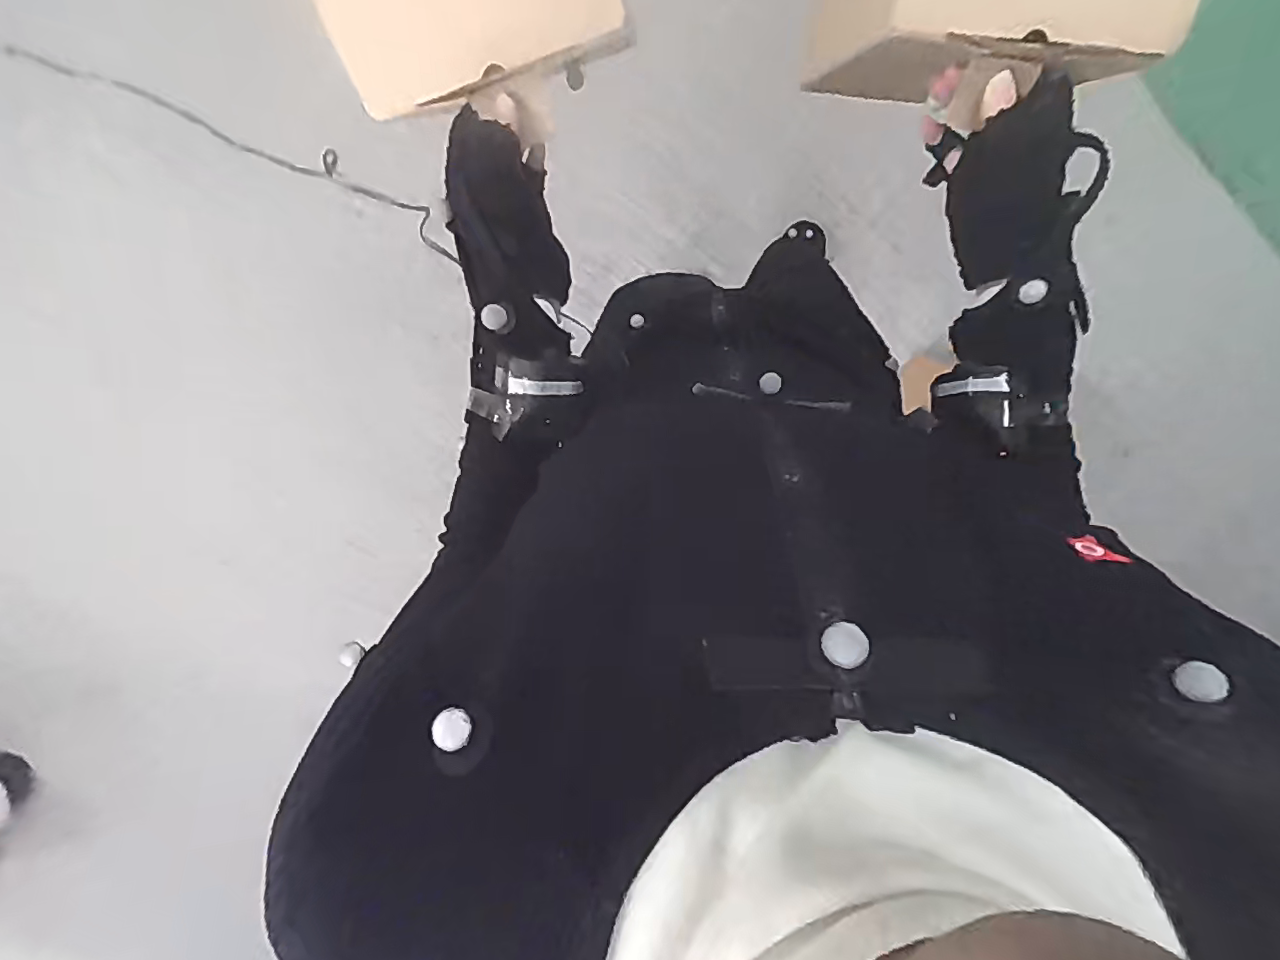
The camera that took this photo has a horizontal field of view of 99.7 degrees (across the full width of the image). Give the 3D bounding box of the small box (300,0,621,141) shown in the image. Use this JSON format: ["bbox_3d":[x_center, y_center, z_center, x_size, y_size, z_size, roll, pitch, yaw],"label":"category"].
[{"bbox_3d":[-0.115,-0.348,0.343,0.168,0.176,0.179,-15,124,11],"label":"small box"}]
